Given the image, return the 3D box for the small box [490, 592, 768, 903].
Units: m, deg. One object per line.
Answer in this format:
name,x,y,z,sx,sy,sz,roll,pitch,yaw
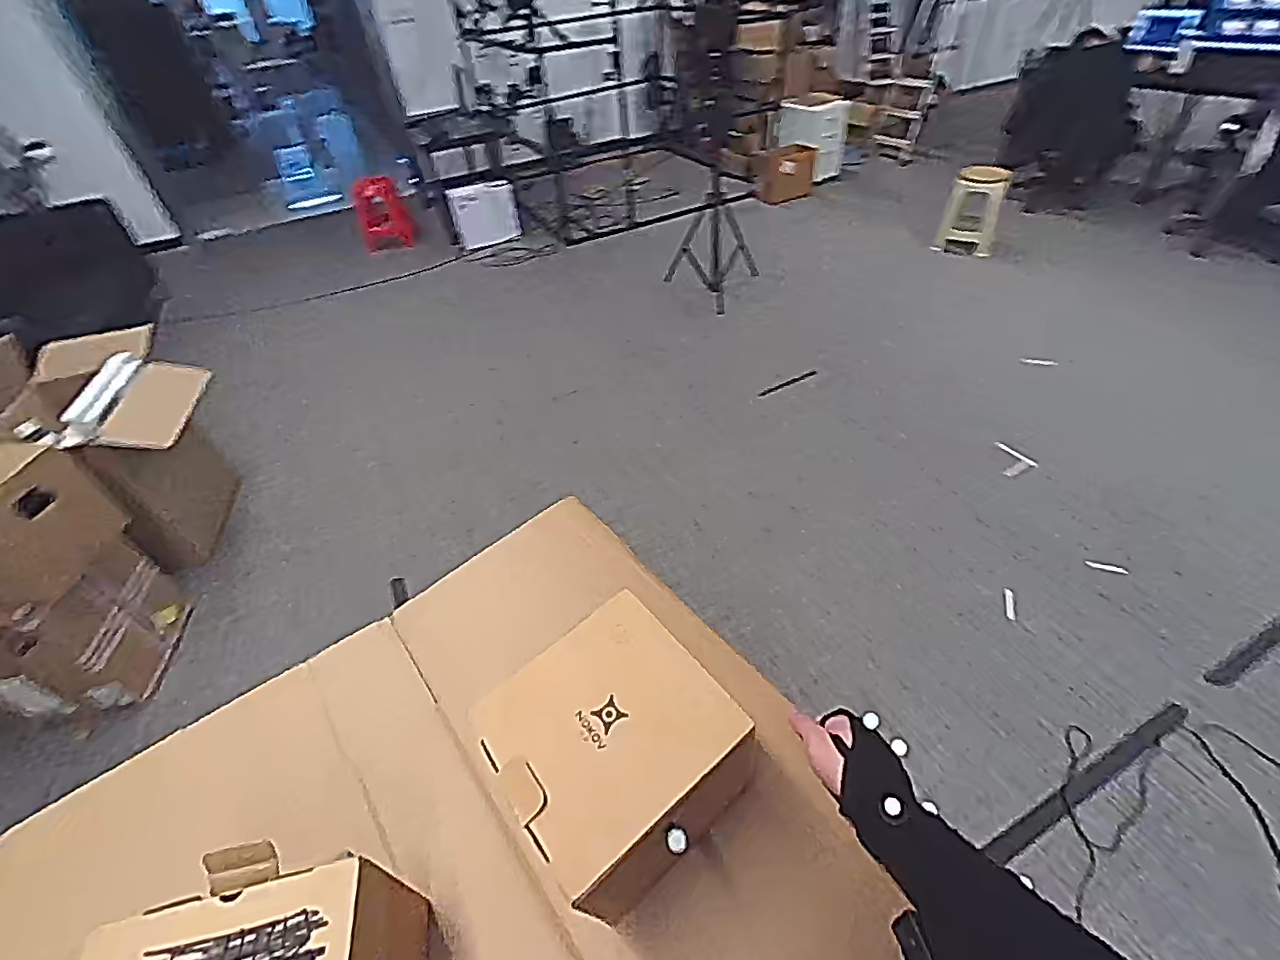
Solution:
small box,-0.005,0.246,0.503,0.179,0.176,0.168,-35,52,-20
